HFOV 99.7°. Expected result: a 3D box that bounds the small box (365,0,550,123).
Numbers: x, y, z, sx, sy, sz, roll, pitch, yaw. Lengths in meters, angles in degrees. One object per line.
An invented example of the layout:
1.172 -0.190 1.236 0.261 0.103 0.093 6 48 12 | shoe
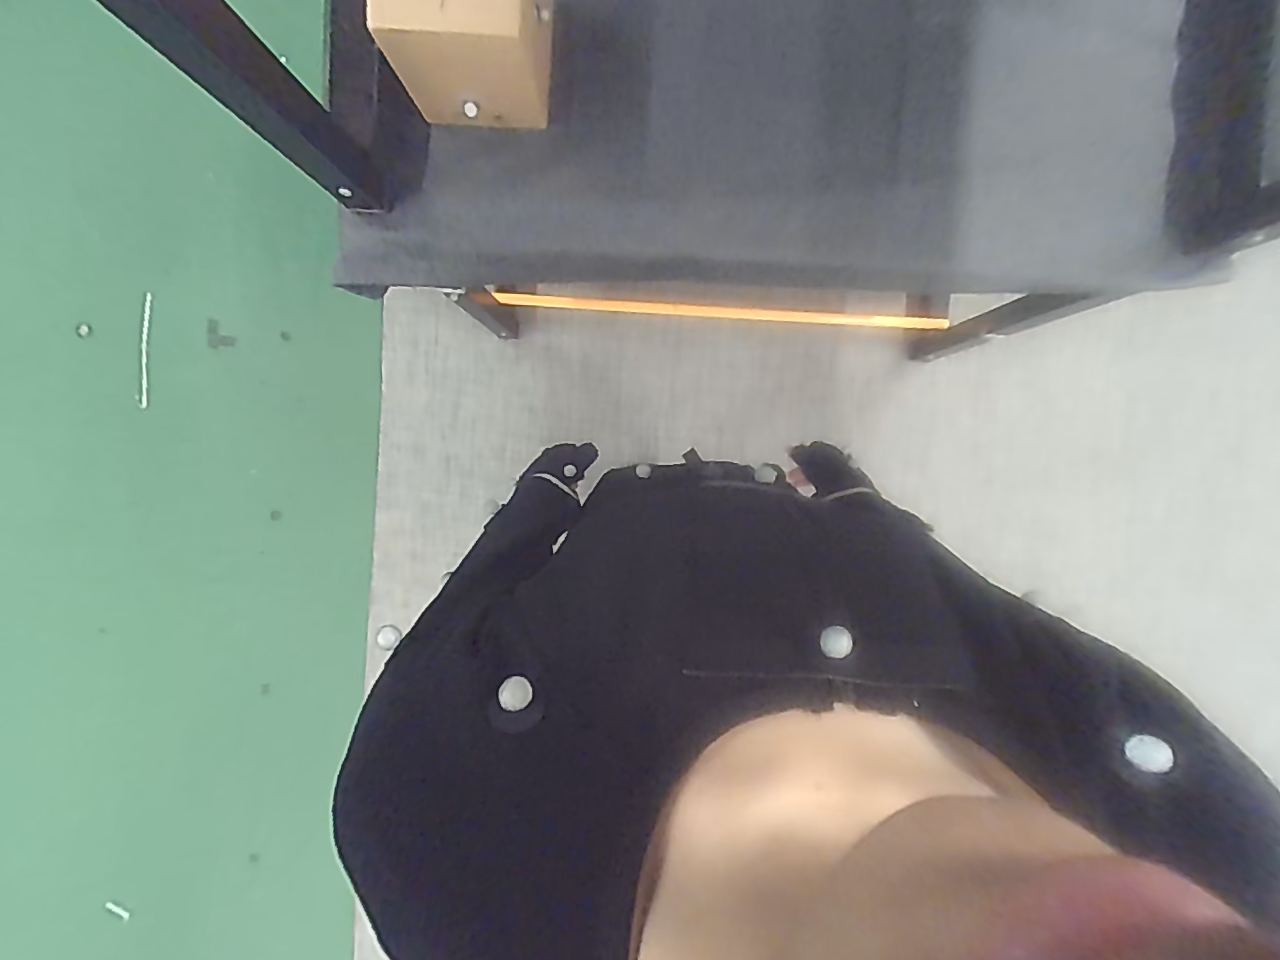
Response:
-0.206 -0.574 0.651 0.168 0.176 0.179 3 93 0 | small box
